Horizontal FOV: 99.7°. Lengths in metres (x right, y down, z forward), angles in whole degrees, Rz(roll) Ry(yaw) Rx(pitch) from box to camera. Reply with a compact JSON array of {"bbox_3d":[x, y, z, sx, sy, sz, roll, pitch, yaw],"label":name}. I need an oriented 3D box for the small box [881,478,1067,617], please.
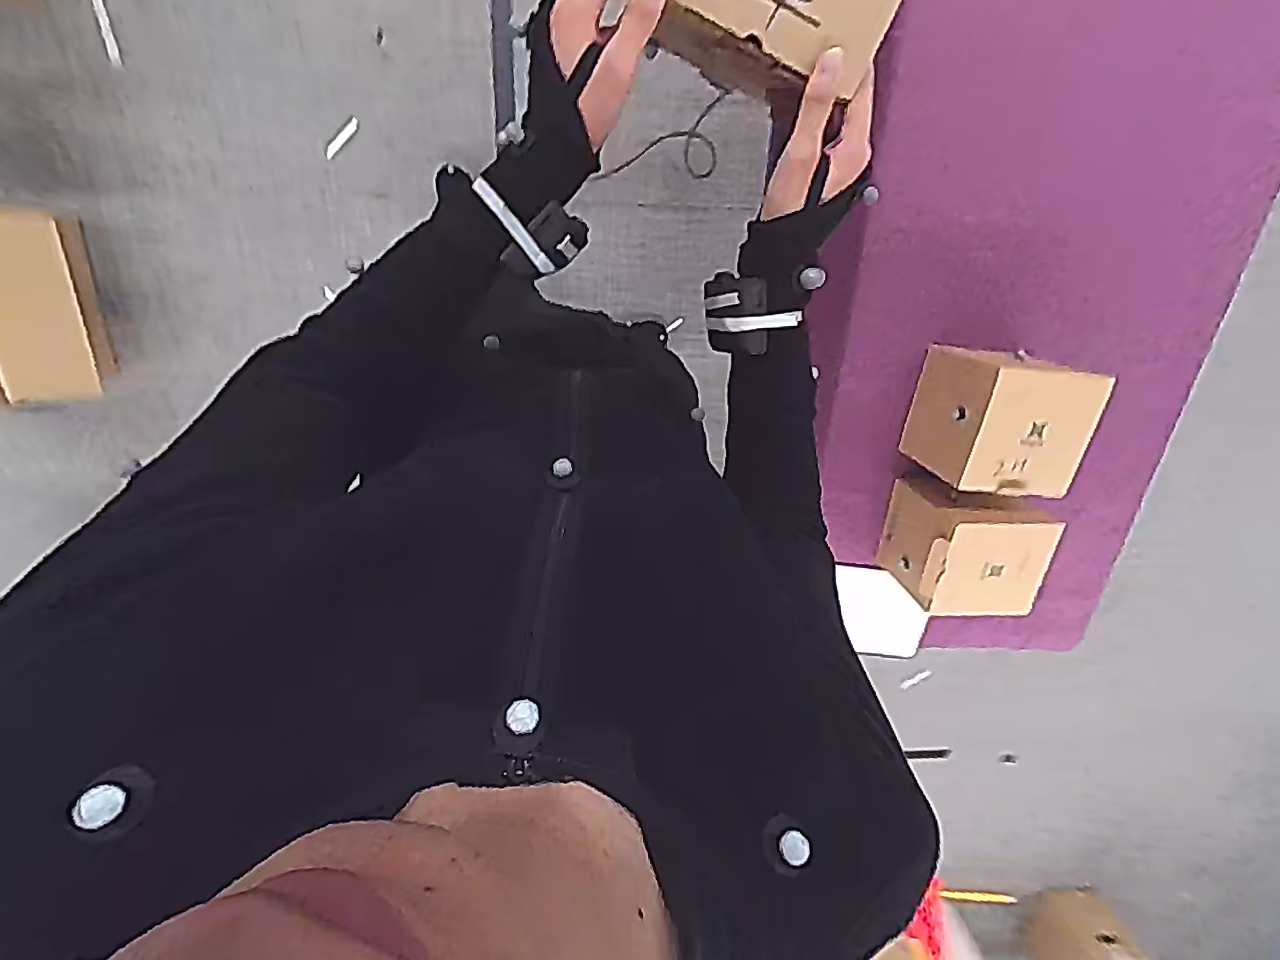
[{"bbox_3d":[0.527,0.104,0.886,0.179,0.176,0.168,2,114,-6],"label":"small box"}]
